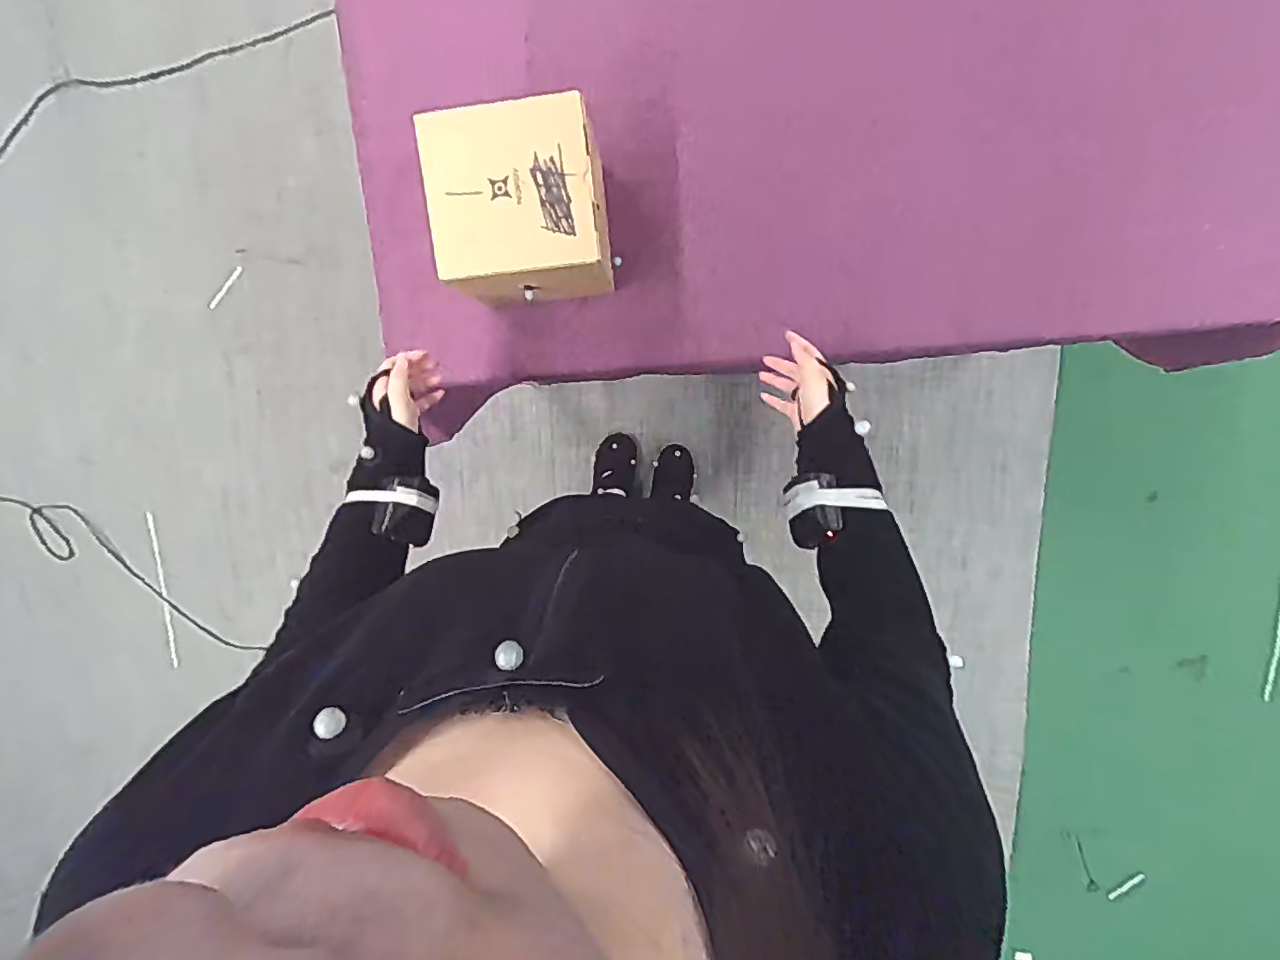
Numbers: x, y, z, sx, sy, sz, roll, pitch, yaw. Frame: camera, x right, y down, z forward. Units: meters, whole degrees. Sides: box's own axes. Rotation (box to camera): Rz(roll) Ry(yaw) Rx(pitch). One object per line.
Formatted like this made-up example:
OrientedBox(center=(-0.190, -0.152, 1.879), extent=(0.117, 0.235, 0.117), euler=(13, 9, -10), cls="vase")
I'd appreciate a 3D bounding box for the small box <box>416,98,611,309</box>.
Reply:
OrientedBox(center=(-0.131, -0.305, 0.634), extent=(0.179, 0.176, 0.168), euler=(-6, 97, 5), cls="small box")
